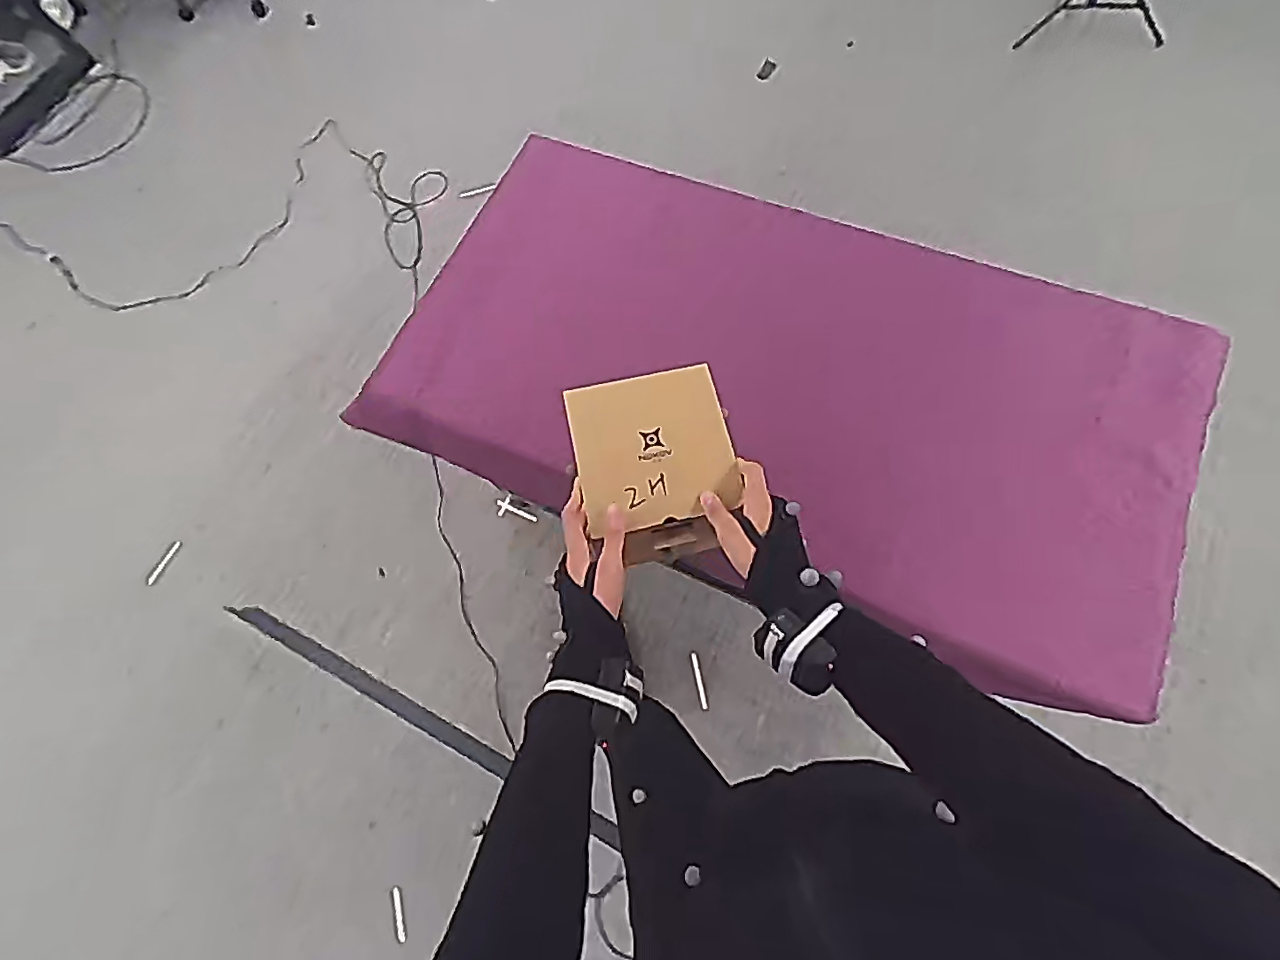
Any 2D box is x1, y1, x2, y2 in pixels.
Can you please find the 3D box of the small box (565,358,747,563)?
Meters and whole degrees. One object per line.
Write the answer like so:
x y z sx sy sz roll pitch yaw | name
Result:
0.013 -0.015 0.642 0.168 0.176 0.179 -12 70 -3 | small box
